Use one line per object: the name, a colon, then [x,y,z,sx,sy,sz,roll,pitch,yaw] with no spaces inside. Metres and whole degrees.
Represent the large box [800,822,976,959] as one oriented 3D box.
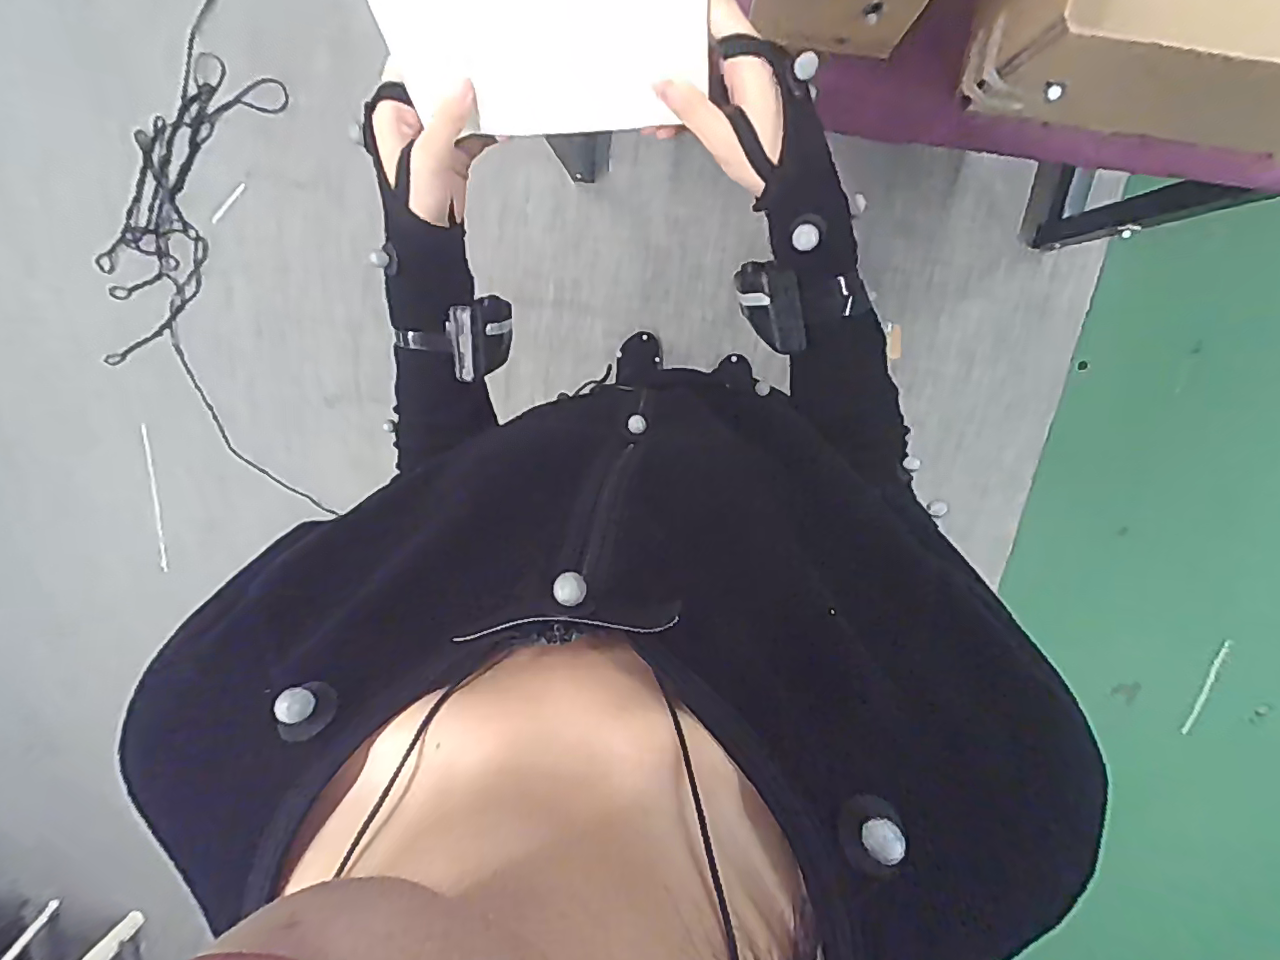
large box: [0.730,1.300,1.643,0.408,0.320,0.320,-6,104,4]
